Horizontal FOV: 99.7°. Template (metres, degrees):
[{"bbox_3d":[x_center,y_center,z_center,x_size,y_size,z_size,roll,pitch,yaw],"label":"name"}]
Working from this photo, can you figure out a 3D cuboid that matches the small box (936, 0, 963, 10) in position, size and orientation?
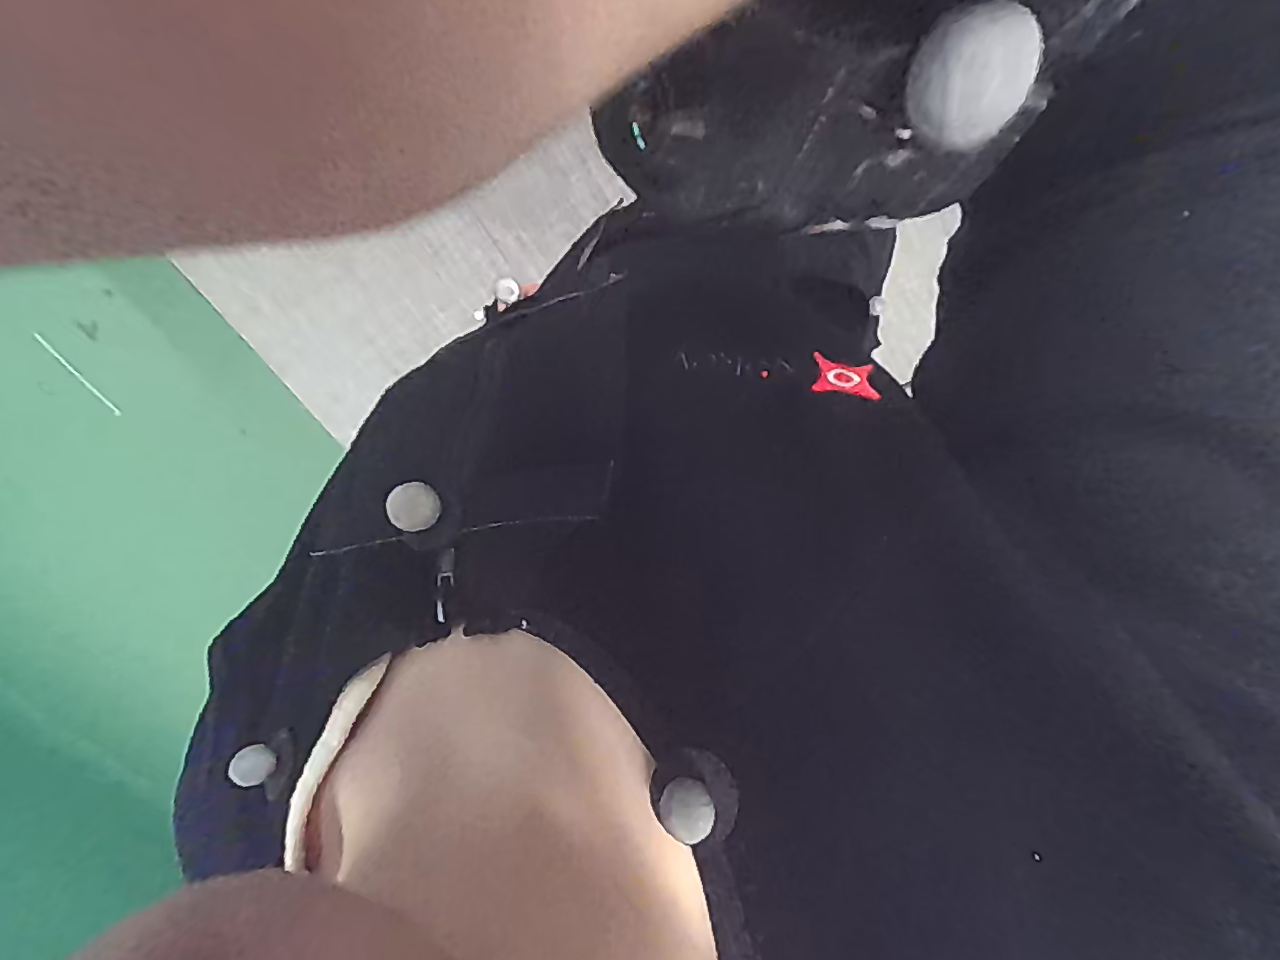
[{"bbox_3d":[0.517,-0.844,0.783,0.179,0.176,0.168,-30,110,27],"label":"small box"}]
